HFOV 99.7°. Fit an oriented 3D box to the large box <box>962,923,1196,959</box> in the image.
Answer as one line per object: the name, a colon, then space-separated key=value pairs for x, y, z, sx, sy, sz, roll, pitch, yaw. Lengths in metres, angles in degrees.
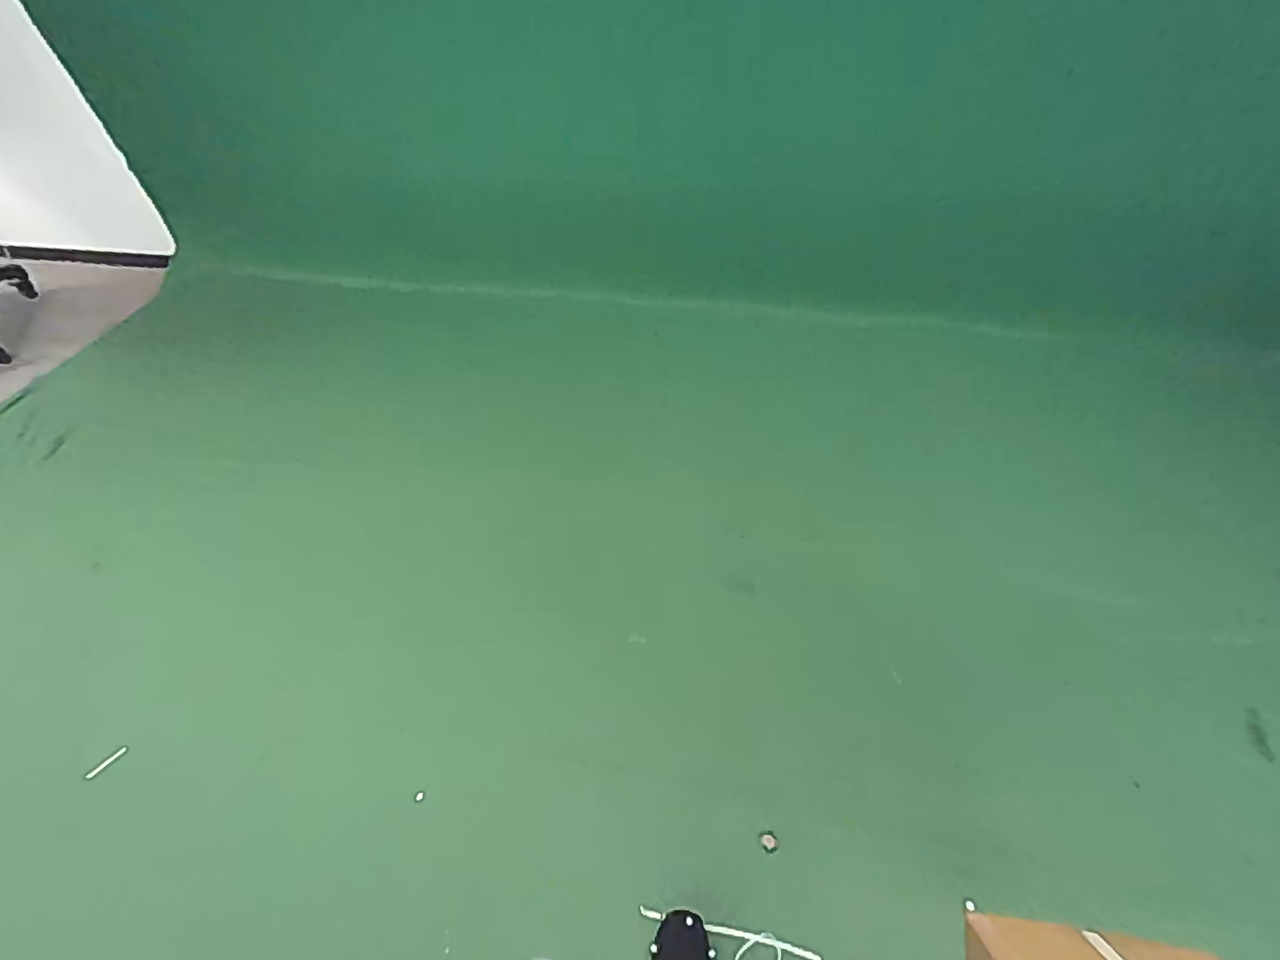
large box: x=0.580 y=0.766 z=0.547 sx=0.320 sy=0.408 sz=0.320 roll=3 pitch=81 yaw=10
